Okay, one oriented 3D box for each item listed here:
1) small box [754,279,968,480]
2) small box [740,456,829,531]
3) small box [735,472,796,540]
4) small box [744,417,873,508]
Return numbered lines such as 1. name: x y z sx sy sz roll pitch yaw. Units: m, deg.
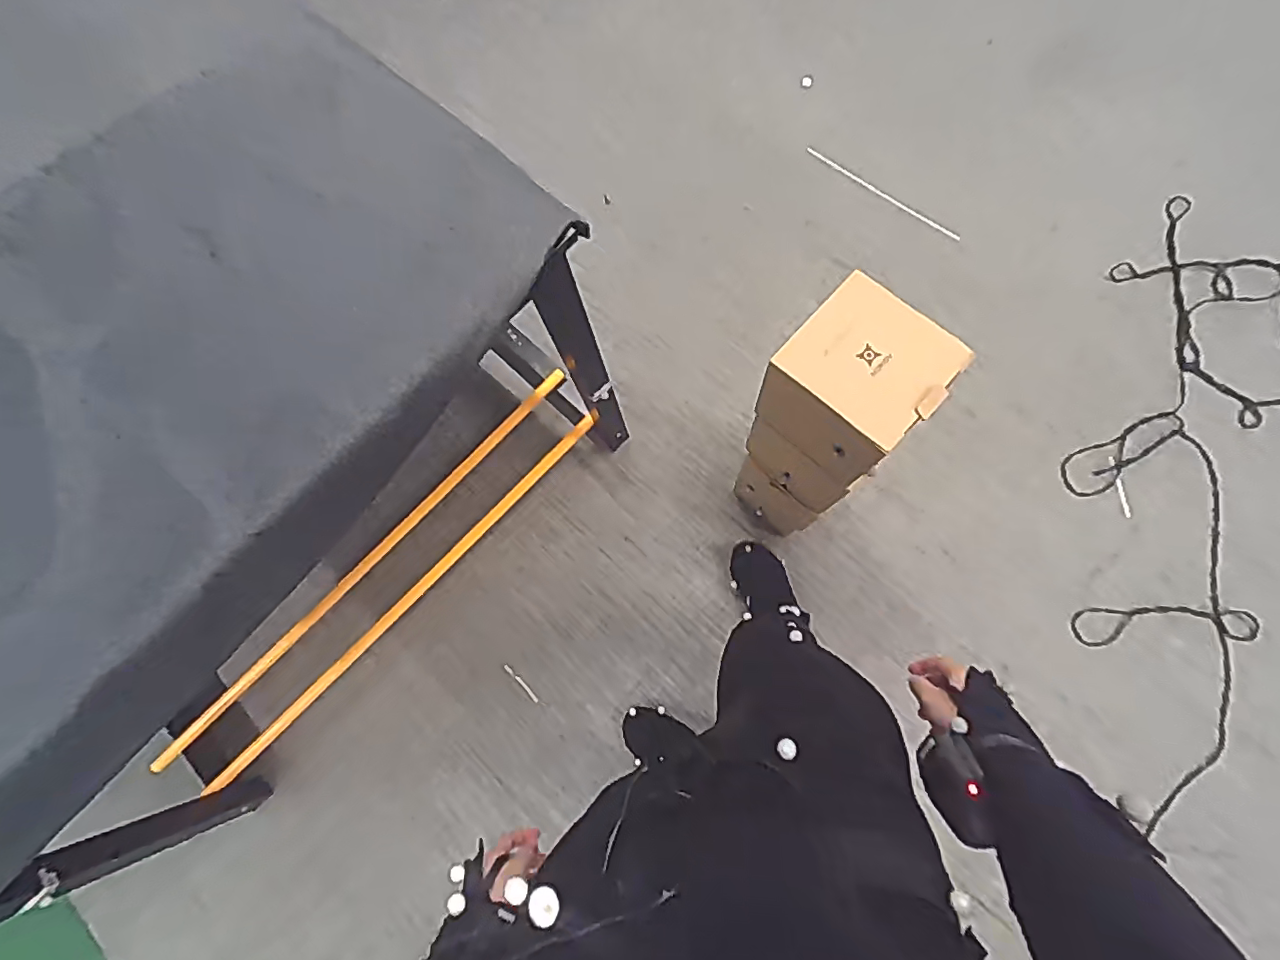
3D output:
1. small box: 0.275 -0.117 0.716 0.179 0.176 0.168 41 82 14
2. small box: 0.306 -0.023 1.028 0.168 0.176 0.179 41 81 13
3. small box: 0.324 0.007 1.188 0.168 0.176 0.179 43 82 14
4. small box: 0.290 -0.072 0.871 0.179 0.176 0.168 42 81 13
